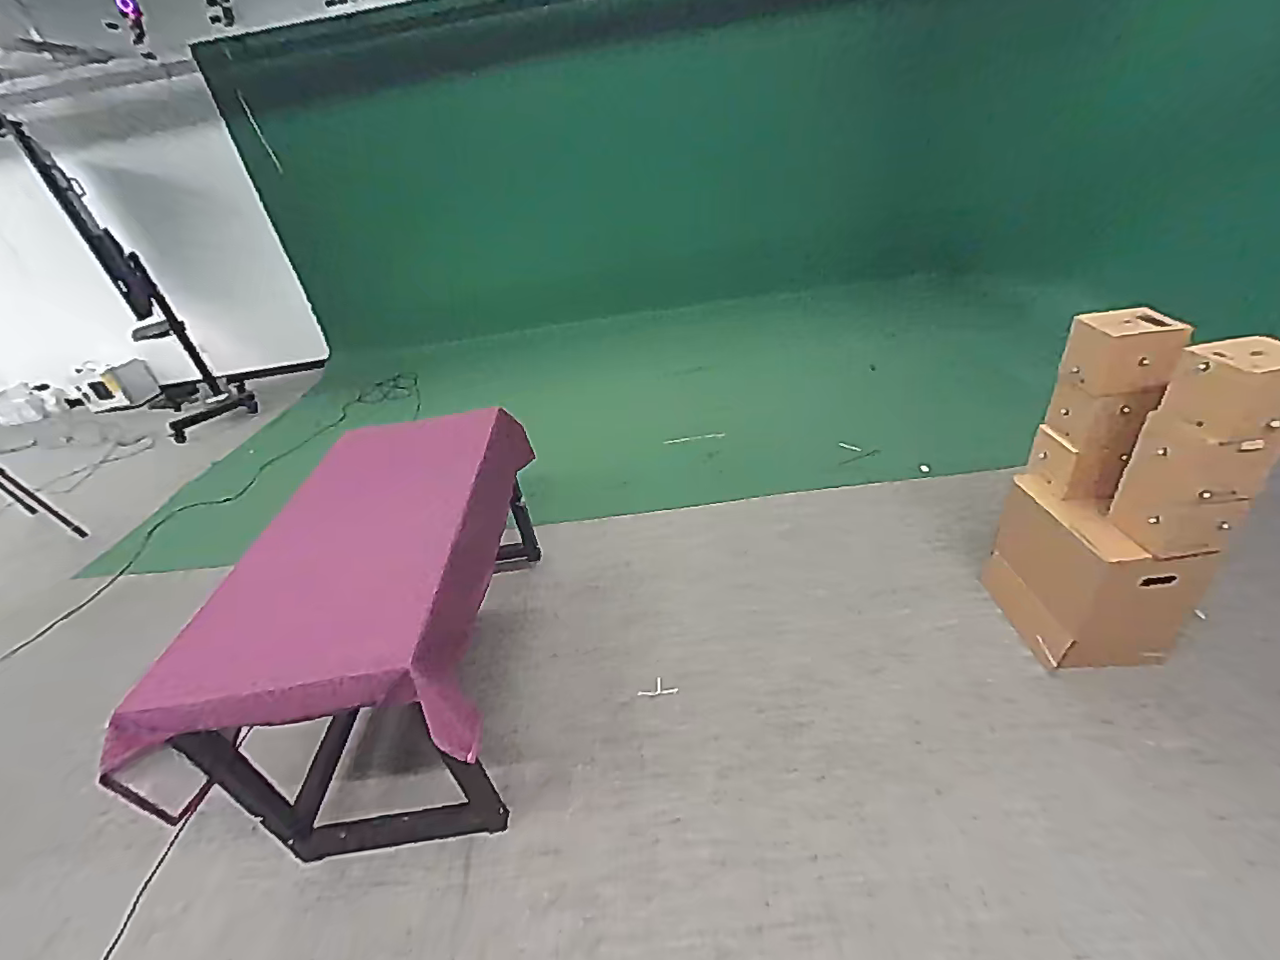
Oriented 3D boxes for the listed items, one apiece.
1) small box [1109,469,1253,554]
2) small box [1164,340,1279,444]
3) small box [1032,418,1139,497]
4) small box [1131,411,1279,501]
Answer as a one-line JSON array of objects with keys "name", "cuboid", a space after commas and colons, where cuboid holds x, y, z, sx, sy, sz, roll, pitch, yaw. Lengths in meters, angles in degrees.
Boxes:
[{"name": "small box", "cuboid": [1.363, 0.075, 1.379, 0.168, 0.176, 0.179, -7, 32, 2]}, {"name": "small box", "cuboid": [1.336, -0.194, 1.193, 0.179, 0.176, 0.168, -7, 32, 1]}, {"name": "small box", "cuboid": [1.303, -0.064, 1.602, 0.179, 0.176, 0.168, -6, 35, 4]}, {"name": "small box", "cuboid": [1.343, -0.060, 1.289, 0.168, 0.176, 0.179, -6, 31, 3]}]
